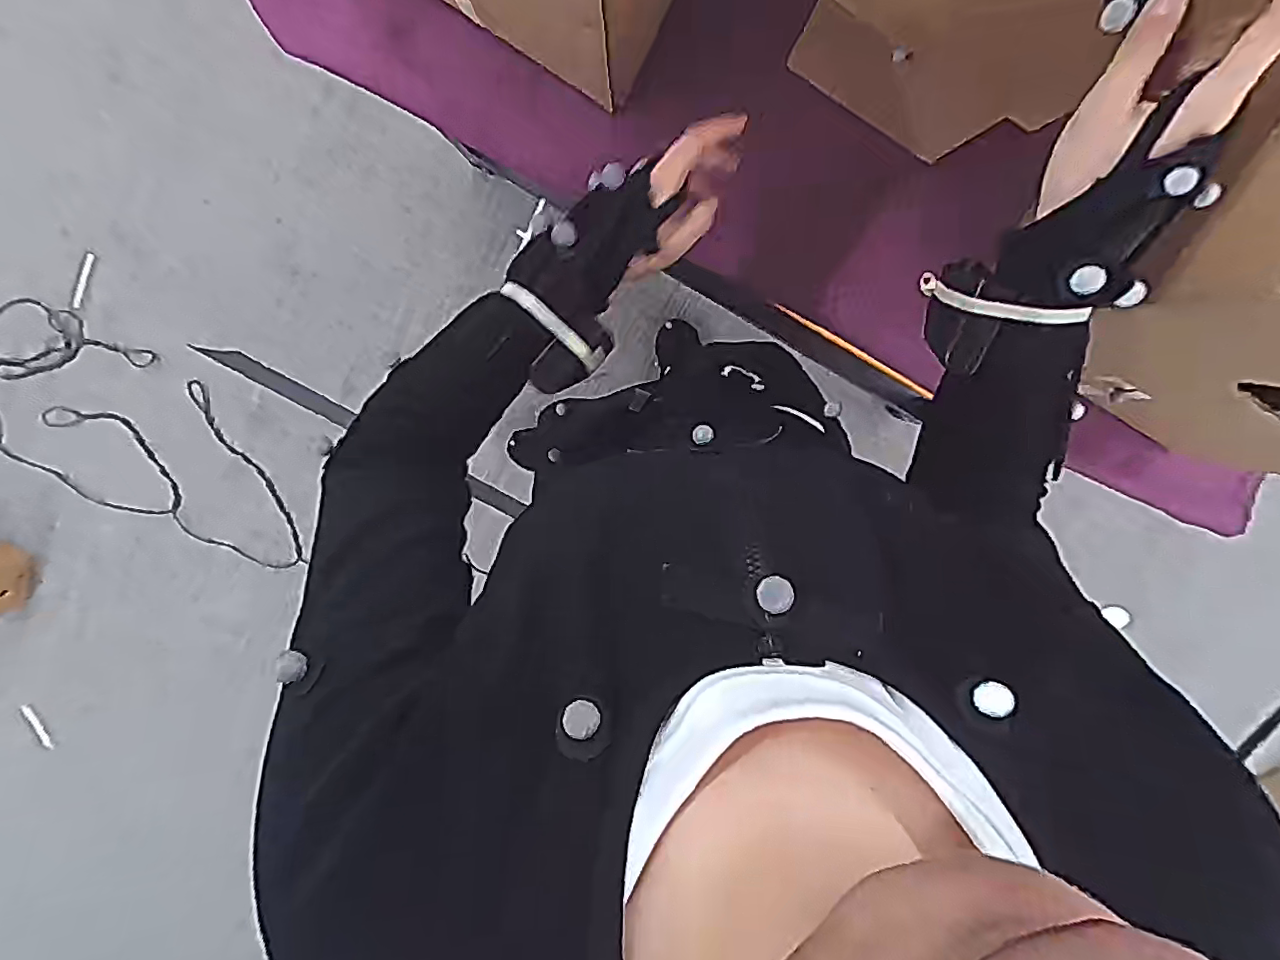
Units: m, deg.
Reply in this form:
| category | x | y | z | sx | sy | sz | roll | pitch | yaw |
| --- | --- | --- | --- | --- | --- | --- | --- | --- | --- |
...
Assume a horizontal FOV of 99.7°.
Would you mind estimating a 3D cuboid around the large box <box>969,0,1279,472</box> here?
| category | x | y | z | sx | sy | sz | roll | pitch | yaw |
| --- | --- | --- | --- | --- | --- | --- | --- | --- | --- |
| large box | 0.561 | -0.231 | 0.401 | 0.320 | 0.320 | 0.408 | 28 | 102 | -7 |

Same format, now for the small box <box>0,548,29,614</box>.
| category | x | y | z | sx | sy | sz | roll | pitch | yaw |
| --- | --- | --- | --- | --- | --- | --- | --- | --- | --- |
| small box | -1.743 | 0.266 | 1.376 | 0.179 | 0.176 | 0.168 | 22 | 104 | -6 |
